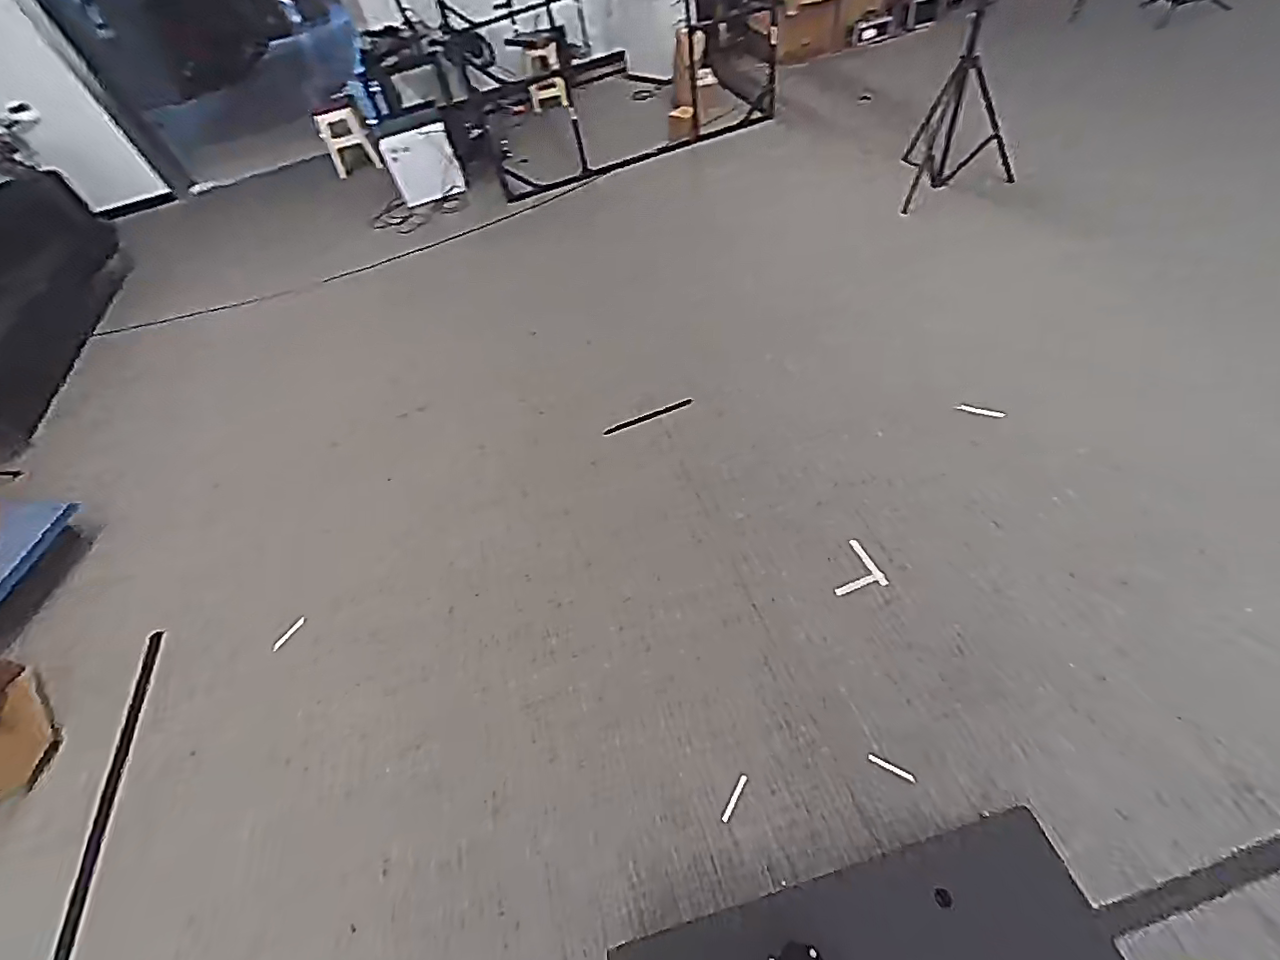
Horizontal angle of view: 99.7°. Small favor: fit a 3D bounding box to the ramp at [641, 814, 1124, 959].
[{"bbox_3d":[0.486,1.045,1.012,0.991,0.206,0.509,-20,48,-4],"label":"ramp"}]
